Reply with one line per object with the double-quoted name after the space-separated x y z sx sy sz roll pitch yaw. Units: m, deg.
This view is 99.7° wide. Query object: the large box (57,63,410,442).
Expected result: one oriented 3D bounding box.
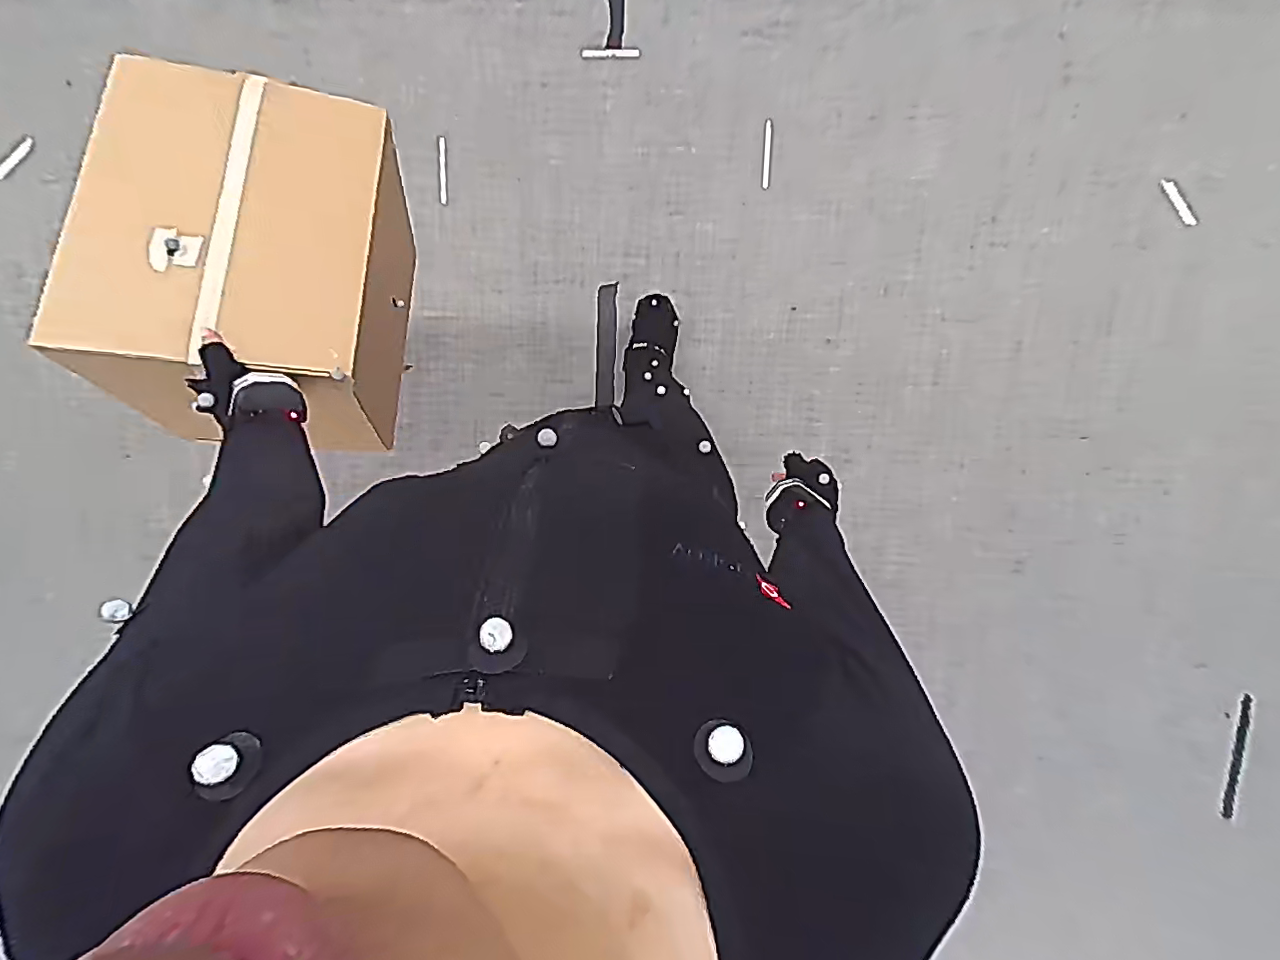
-0.541 -0.298 0.817 0.320 0.320 0.408 2 76 -14 "large box"
